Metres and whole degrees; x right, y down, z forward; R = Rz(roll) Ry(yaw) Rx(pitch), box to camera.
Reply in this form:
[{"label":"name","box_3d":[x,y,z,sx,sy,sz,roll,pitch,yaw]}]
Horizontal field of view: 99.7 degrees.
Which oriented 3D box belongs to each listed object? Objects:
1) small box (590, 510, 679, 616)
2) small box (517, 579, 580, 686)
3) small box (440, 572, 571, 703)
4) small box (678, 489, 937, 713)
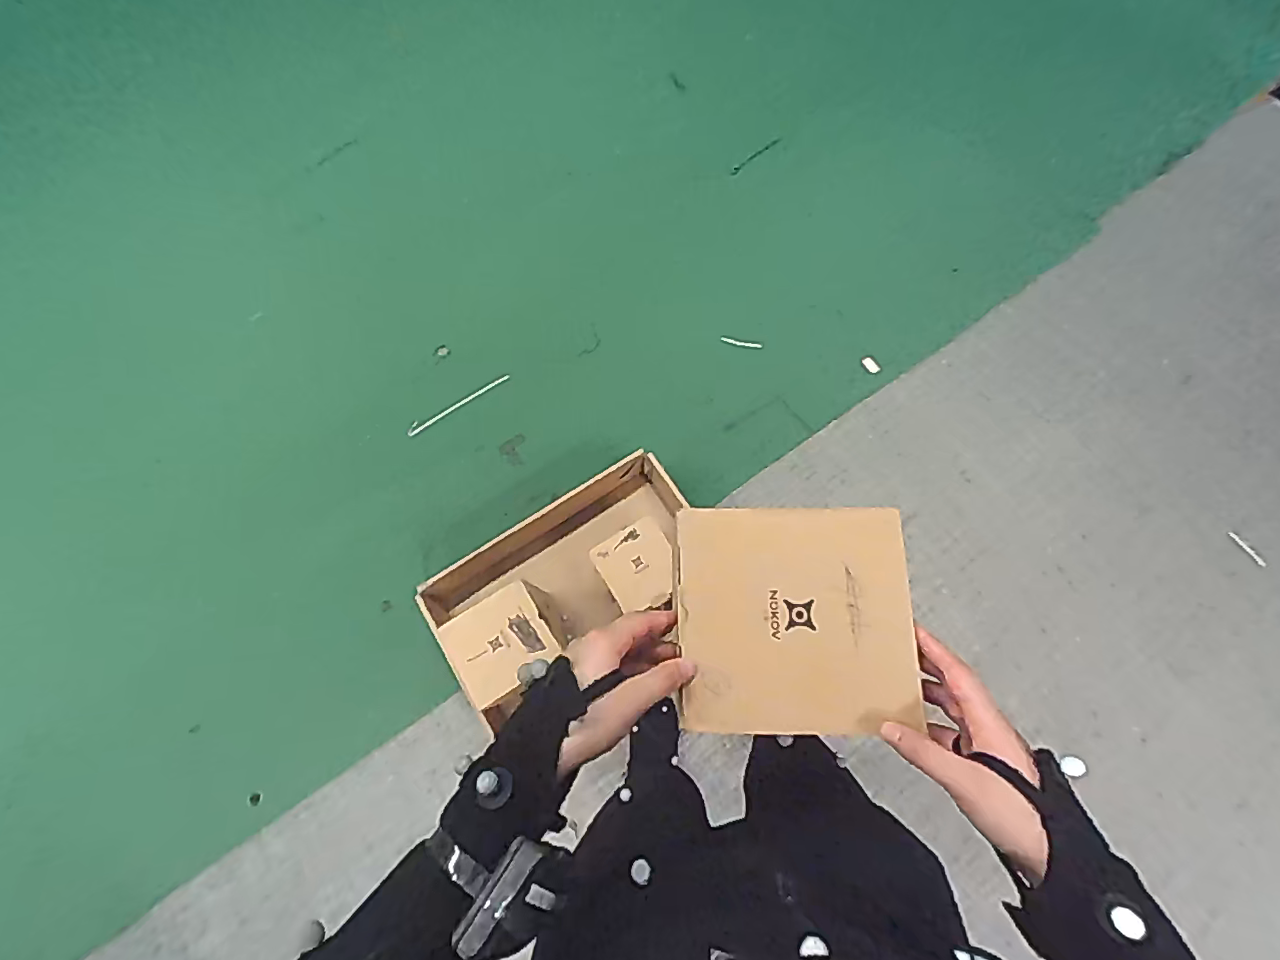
[{"label":"small box","box_3d":[0.003,0.194,1.240,0.168,0.176,0.179,-30,77,-8]},{"label":"small box","box_3d":[-0.249,0.341,1.191,0.179,0.176,0.168,-32,77,-11]},{"label":"small box","box_3d":[-0.244,0.296,1.033,0.179,0.176,0.168,-31,76,-9]},{"label":"small box","box_3d":[0.124,0.108,0.479,0.179,0.176,0.168,-1,75,0]}]
